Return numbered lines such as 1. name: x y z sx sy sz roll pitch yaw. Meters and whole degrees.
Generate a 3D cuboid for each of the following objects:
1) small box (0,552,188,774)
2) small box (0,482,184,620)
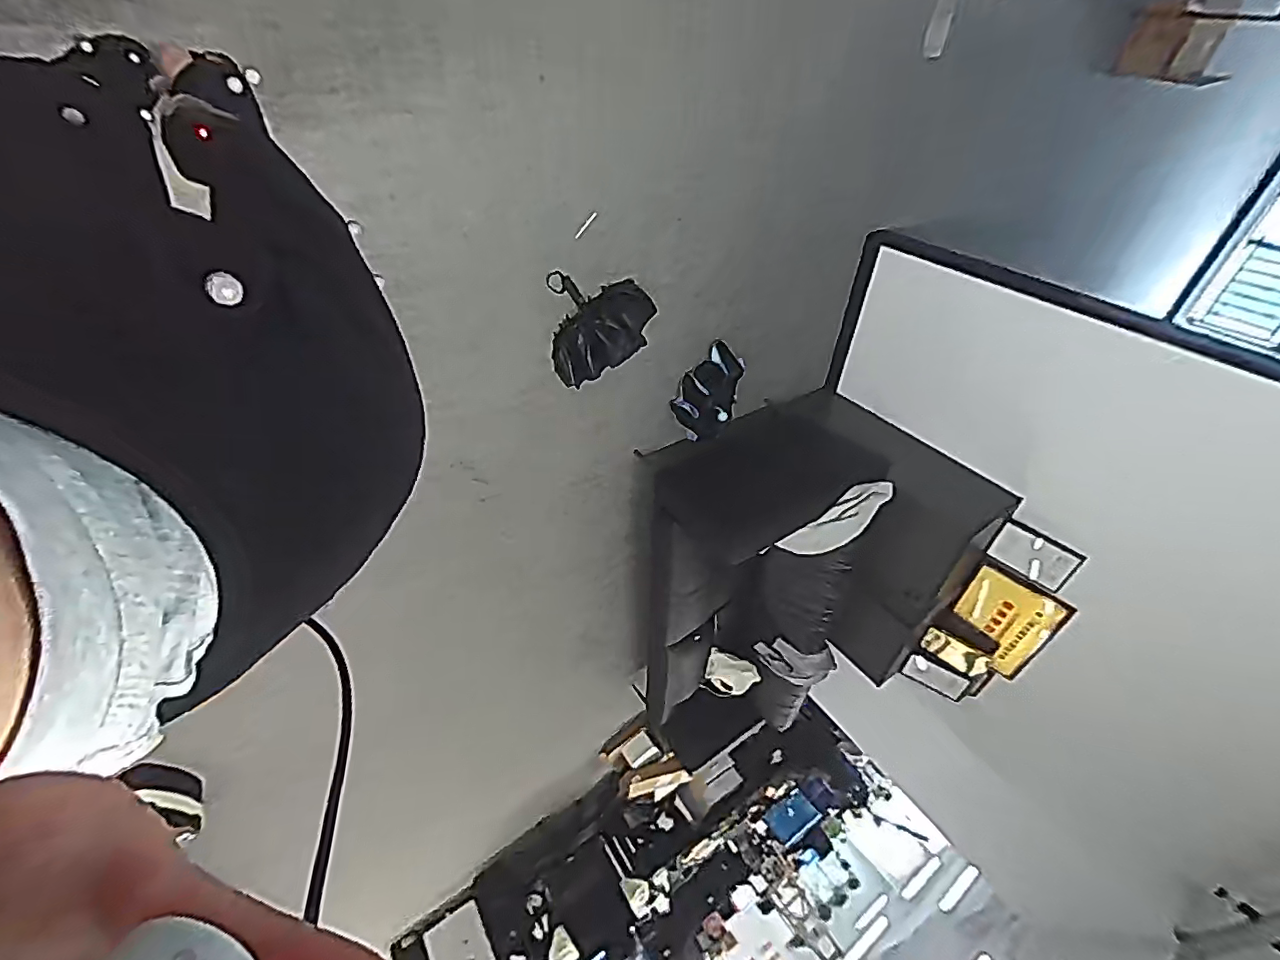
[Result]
1. small box: -0.722 0.225 0.688 0.168 0.176 0.179 -28 139 -22
2. small box: -0.812 0.136 0.790 0.168 0.176 0.179 -26 140 -23
